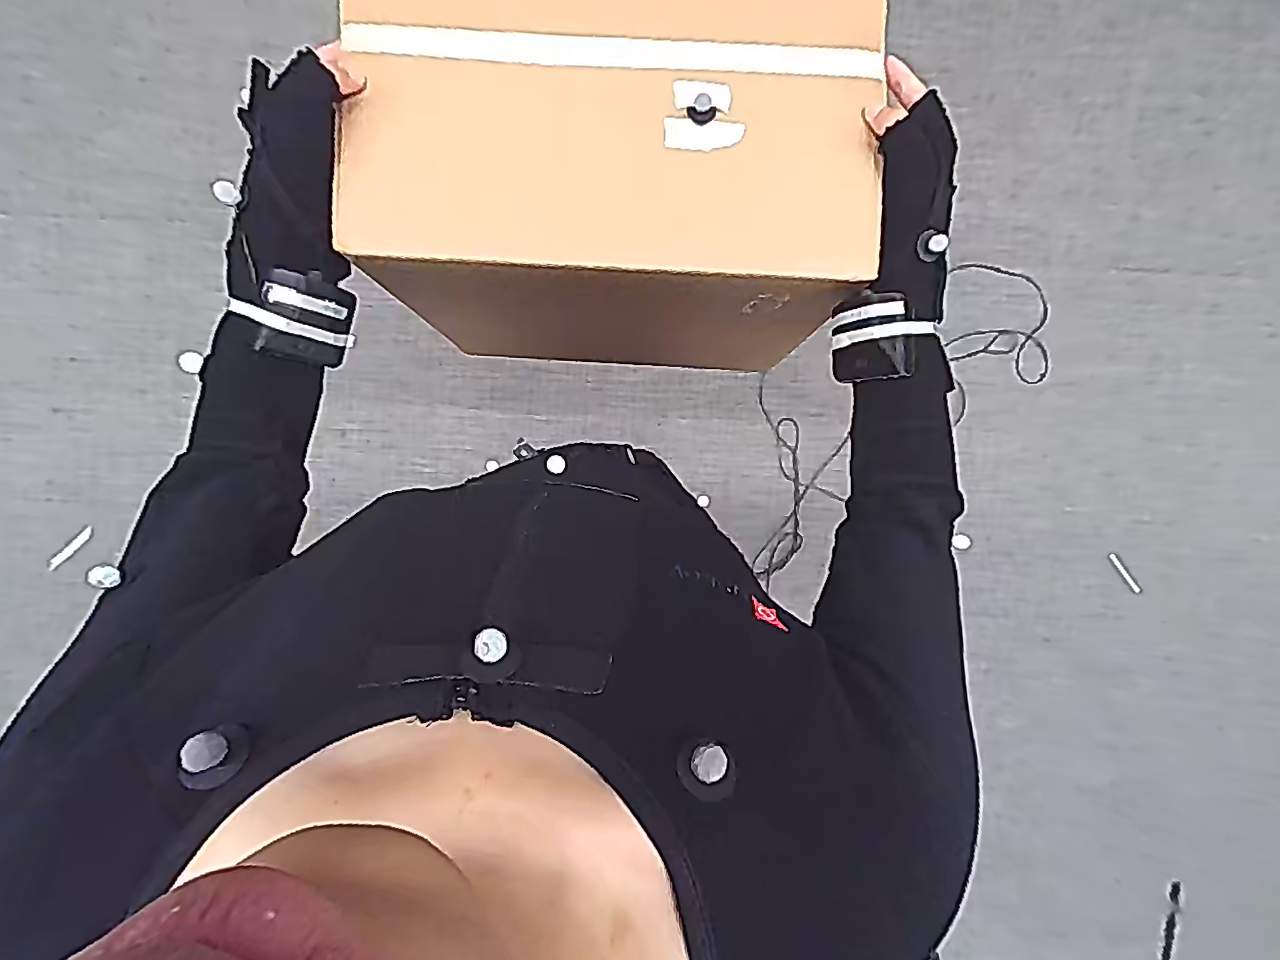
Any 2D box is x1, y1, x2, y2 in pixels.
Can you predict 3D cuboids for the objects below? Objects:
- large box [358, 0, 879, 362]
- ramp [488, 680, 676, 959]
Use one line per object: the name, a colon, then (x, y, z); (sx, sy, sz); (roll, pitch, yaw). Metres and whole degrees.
large box: (-0.018, -0.317, 0.569); (0.408, 0.320, 0.320); (3, 89, -1)
ramp: (-0.155, 1.061, 1.460); (0.509, 0.206, 0.991); (0, 93, 0)
